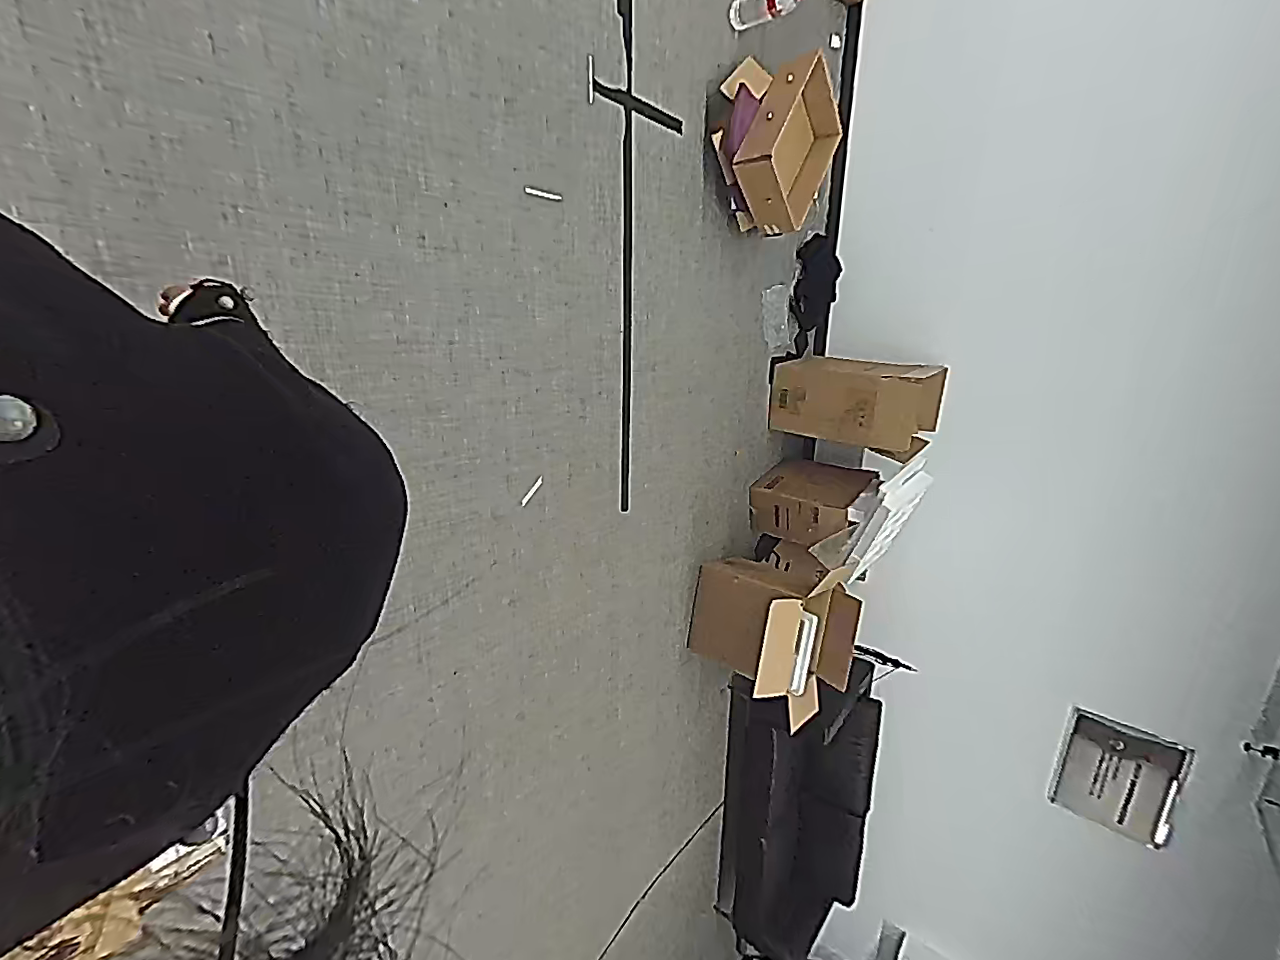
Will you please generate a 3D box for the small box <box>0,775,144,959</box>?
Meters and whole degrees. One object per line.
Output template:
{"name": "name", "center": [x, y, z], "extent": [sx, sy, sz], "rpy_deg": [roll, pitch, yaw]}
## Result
{"name": "small box", "center": [-0.805, 0.546, 0.726], "extent": [0.168, 0.176, 0.179], "rpy_deg": [-18, 111, -48]}
